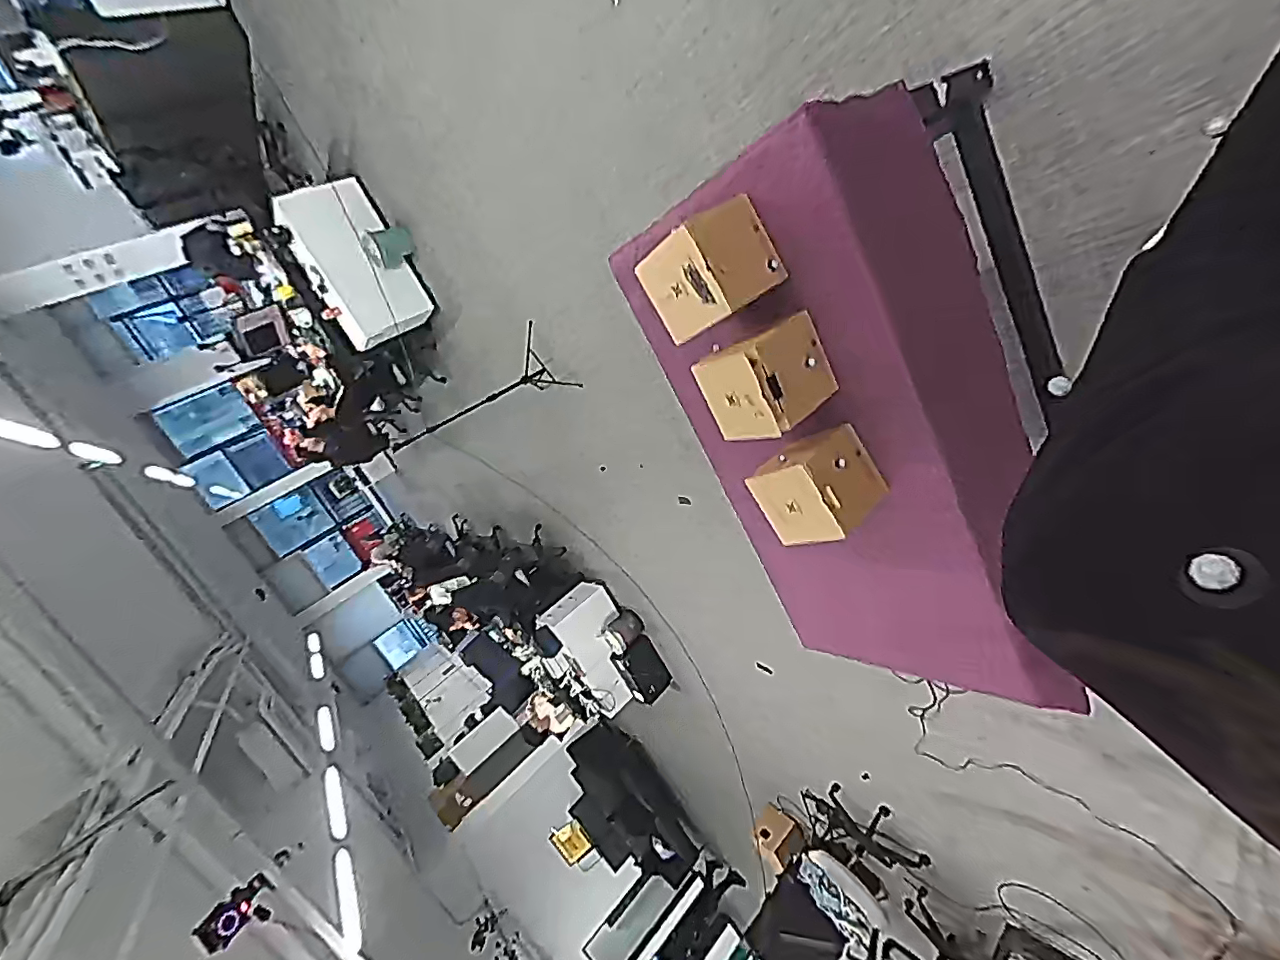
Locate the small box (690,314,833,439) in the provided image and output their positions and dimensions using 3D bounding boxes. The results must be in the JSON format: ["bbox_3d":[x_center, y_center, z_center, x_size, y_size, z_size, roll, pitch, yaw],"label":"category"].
[{"bbox_3d":[0.235,-0.196,1.044,0.179,0.176,0.168,-3,120,57],"label":"small box"}]

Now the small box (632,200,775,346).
[{"bbox_3d":[0.124,-0.381,0.999,0.168,0.176,0.179,58,152,-11],"label":"small box"}]

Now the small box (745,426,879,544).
[{"bbox_3d":[0.357,0.011,1.103,0.168,0.176,0.179,57,152,-7],"label":"small box"}]
